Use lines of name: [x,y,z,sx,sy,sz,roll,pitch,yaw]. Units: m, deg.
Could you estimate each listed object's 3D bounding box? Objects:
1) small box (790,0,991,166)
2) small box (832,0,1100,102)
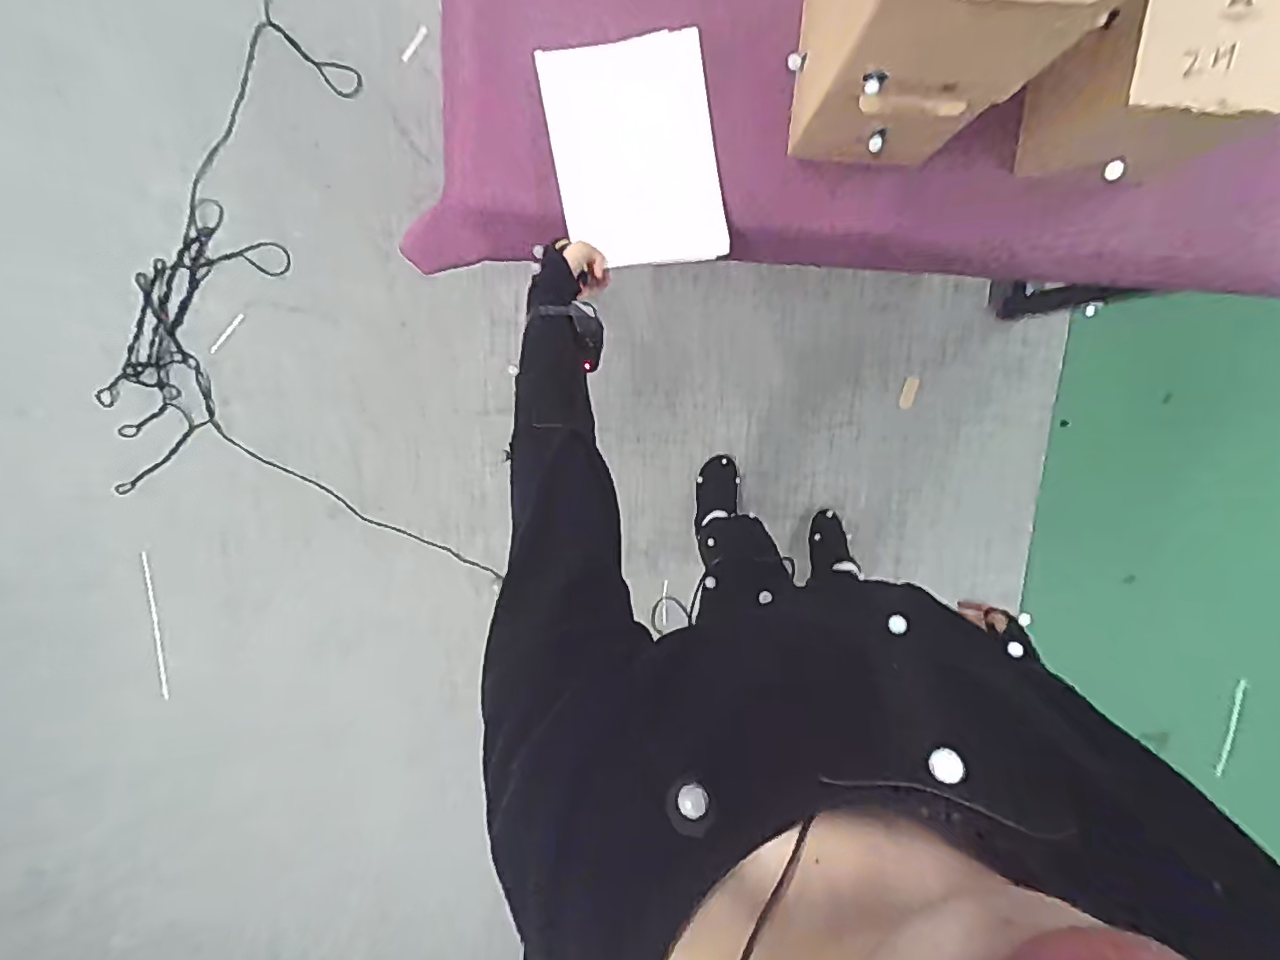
small box: [0.268,-0.464,0.583,0.168,0.176,0.179,5,100,1]
small box: [0.262,-0.432,0.422,0.168,0.176,0.179,5,98,1]
